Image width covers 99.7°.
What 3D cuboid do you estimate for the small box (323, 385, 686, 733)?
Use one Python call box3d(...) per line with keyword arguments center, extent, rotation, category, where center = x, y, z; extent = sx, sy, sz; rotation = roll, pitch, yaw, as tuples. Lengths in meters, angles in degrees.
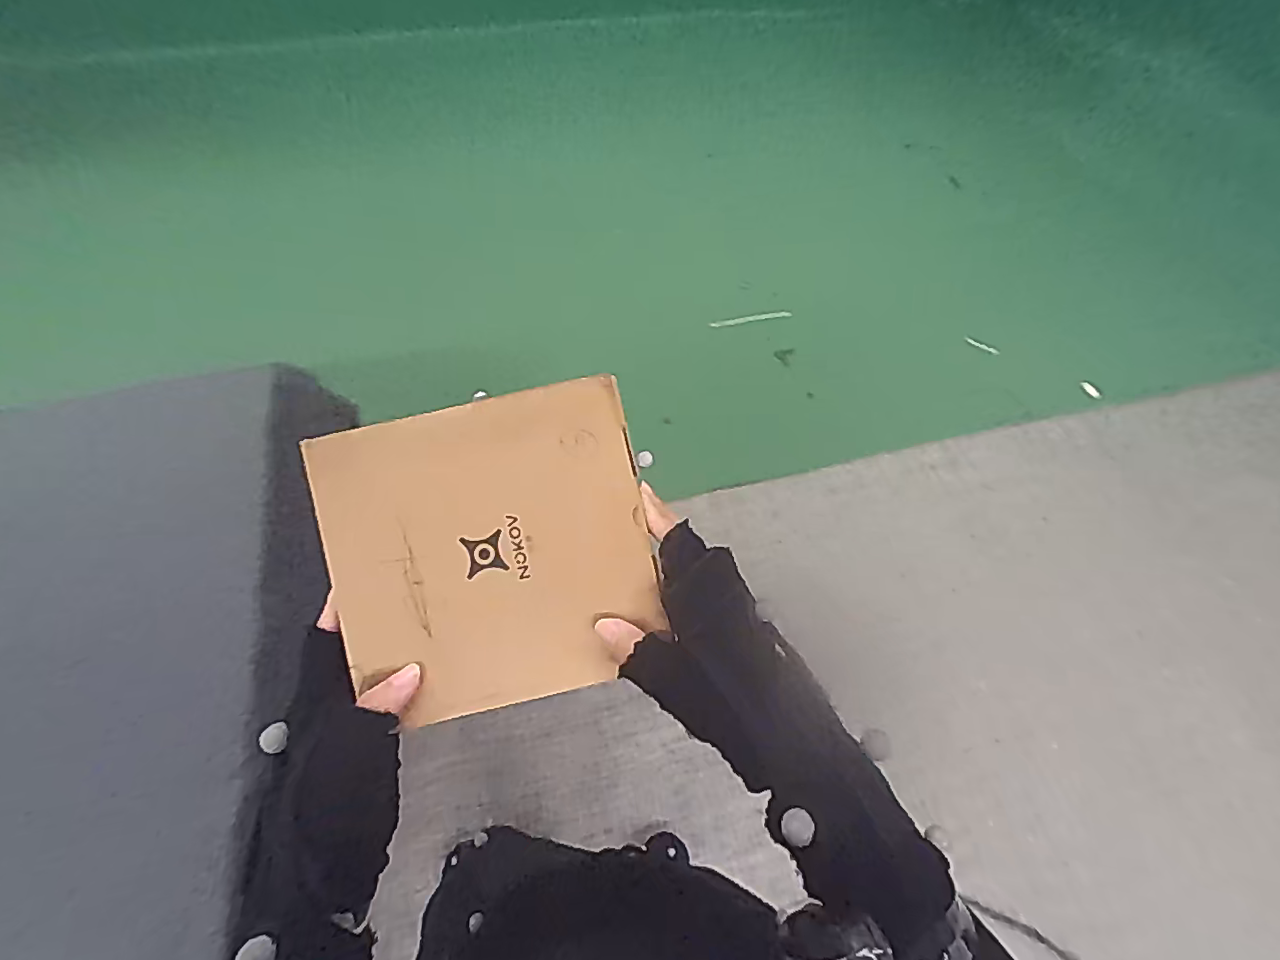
box3d(center=(-0.076, 0.045, 0.381), extent=(0.179, 0.176, 0.168), rotation=(-14, 87, 0), category="small box")
